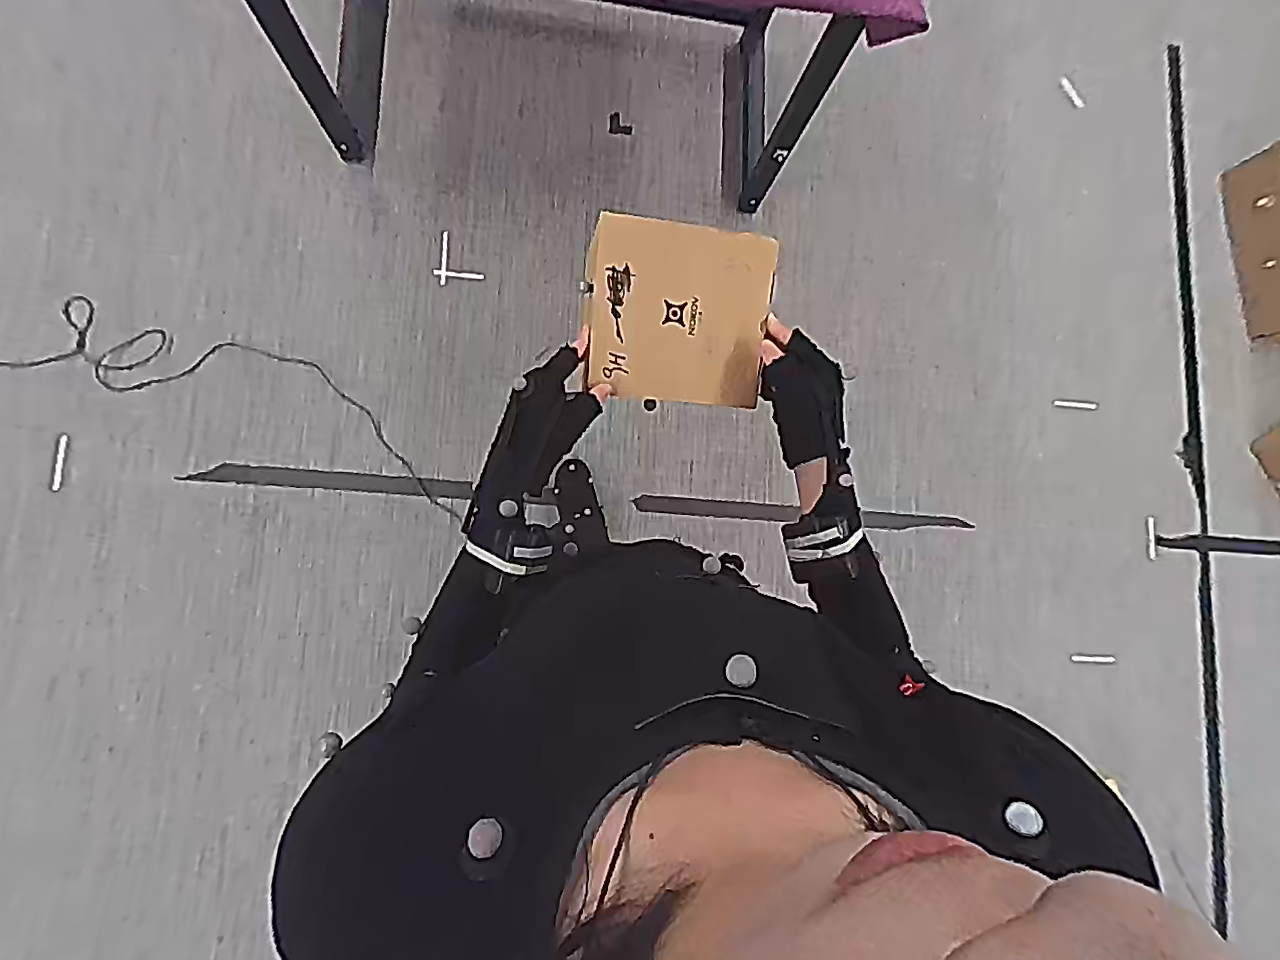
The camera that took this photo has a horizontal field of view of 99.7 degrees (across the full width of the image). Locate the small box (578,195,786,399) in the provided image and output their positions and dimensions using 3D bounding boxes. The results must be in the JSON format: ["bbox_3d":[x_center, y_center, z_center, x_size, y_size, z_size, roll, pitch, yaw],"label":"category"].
[{"bbox_3d":[0.031,-0.182,0.583,0.179,0.176,0.168,4,100,-11],"label":"small box"}]

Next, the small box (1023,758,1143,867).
[{"bbox_3d":[1.241,0.928,1.527,0.168,0.176,0.179,-19,87,-9],"label":"small box"}]
